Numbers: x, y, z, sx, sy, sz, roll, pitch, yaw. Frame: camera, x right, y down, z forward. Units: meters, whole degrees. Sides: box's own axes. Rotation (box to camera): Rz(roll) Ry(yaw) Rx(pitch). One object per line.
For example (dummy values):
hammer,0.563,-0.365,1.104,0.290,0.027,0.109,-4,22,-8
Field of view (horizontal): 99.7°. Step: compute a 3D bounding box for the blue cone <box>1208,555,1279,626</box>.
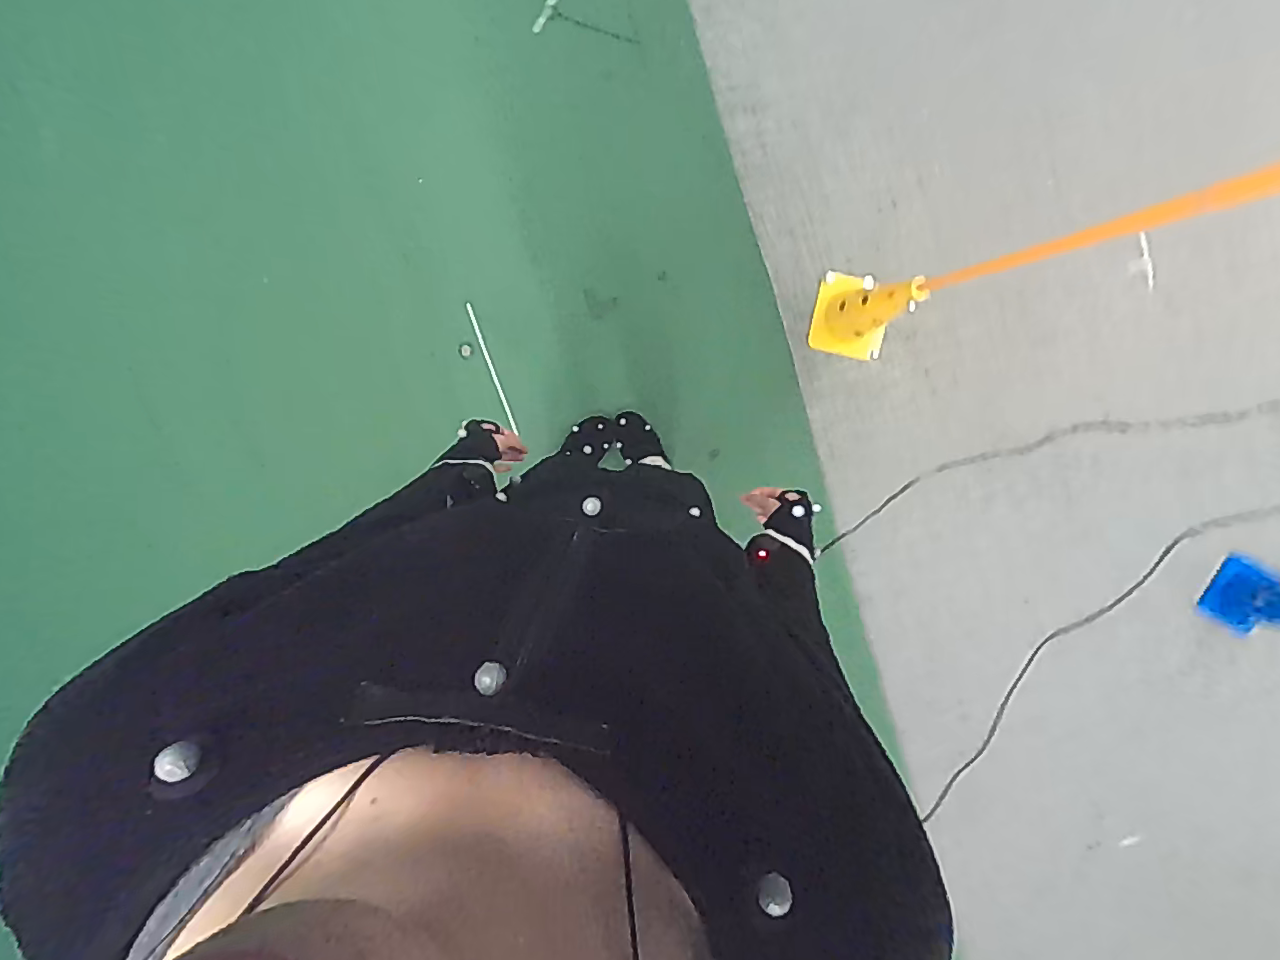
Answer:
blue cone,1.784,0.344,1.416,0.193,0.380,0.192,26,95,-7
